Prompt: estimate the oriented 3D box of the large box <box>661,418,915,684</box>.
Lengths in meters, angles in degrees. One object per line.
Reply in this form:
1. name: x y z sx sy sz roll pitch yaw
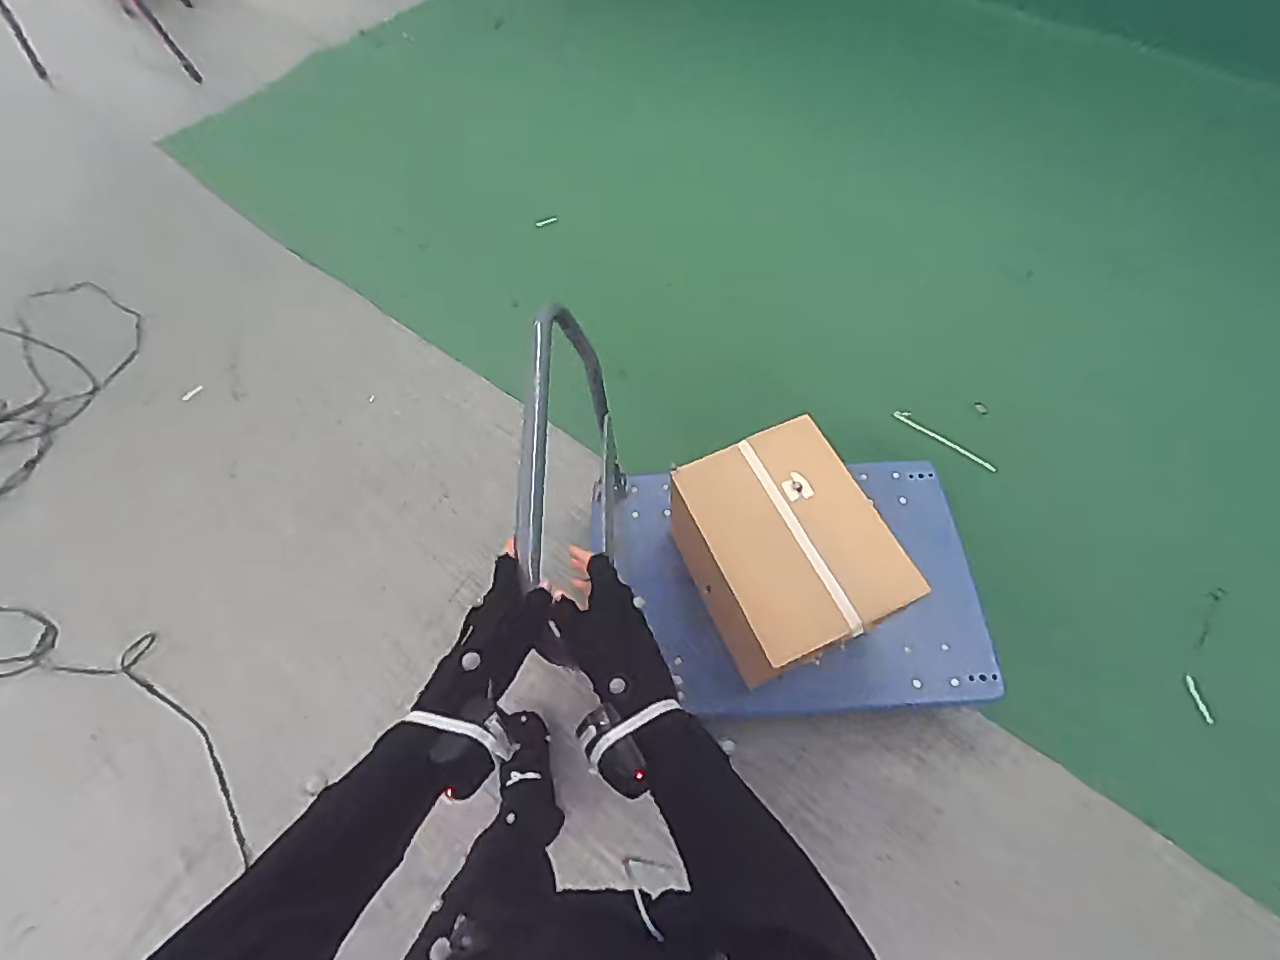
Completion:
1. large box: 0.271 0.156 1.133 0.320 0.320 0.408 -22 63 -8
